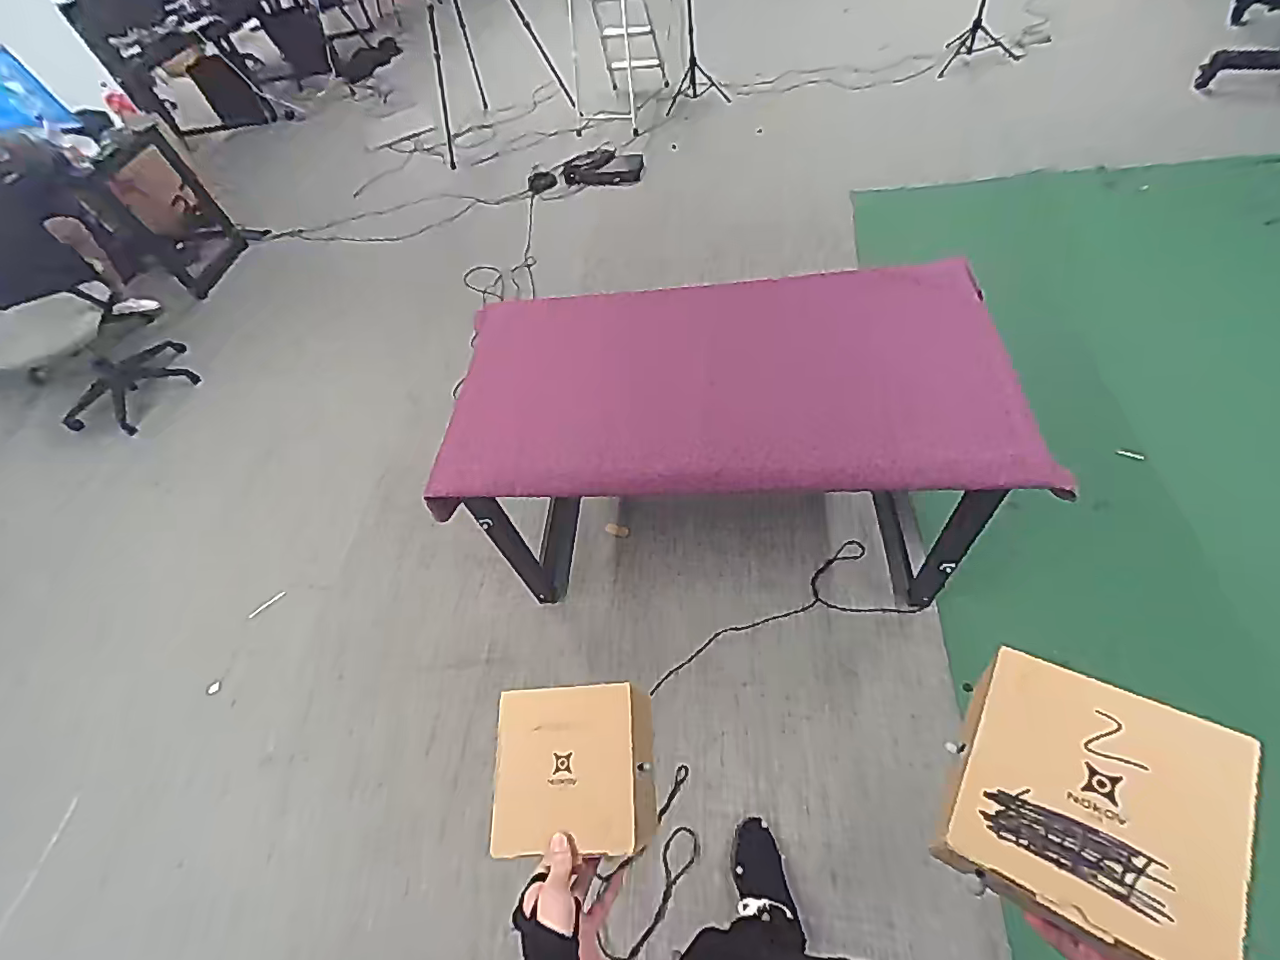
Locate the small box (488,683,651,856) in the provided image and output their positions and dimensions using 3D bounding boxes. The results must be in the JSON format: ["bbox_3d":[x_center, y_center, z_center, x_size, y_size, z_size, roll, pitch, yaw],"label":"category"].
[{"bbox_3d":[-0.079,0.364,0.697,0.168,0.176,0.179,-6,63,7],"label":"small box"}]
